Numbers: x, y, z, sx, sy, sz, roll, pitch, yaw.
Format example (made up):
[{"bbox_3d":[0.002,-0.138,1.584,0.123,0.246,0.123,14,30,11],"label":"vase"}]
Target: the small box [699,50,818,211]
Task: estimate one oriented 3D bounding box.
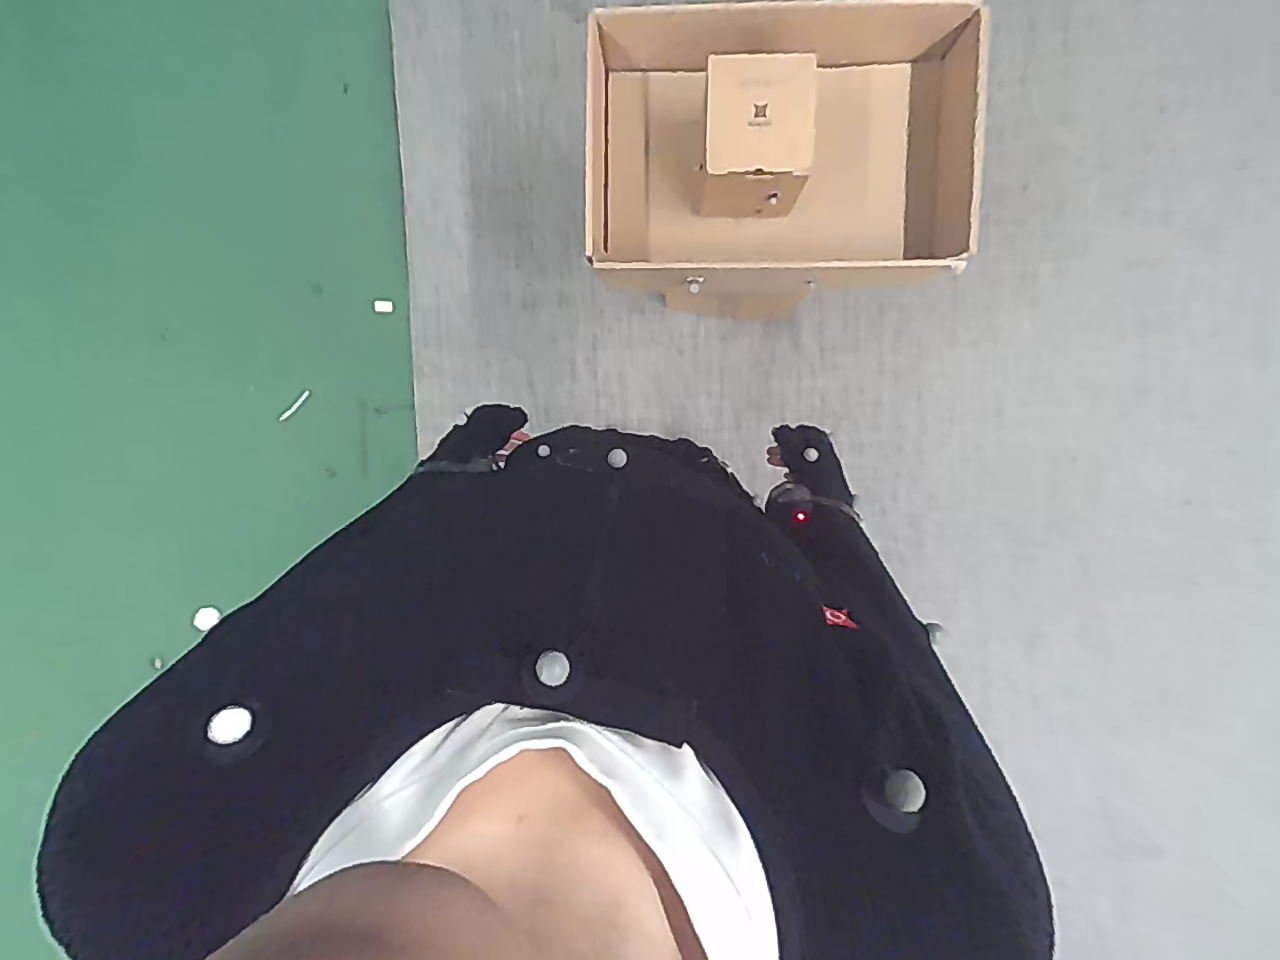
[{"bbox_3d":[0.189,-0.570,0.903,0.168,0.176,0.179,0,94,1],"label":"small box"}]
